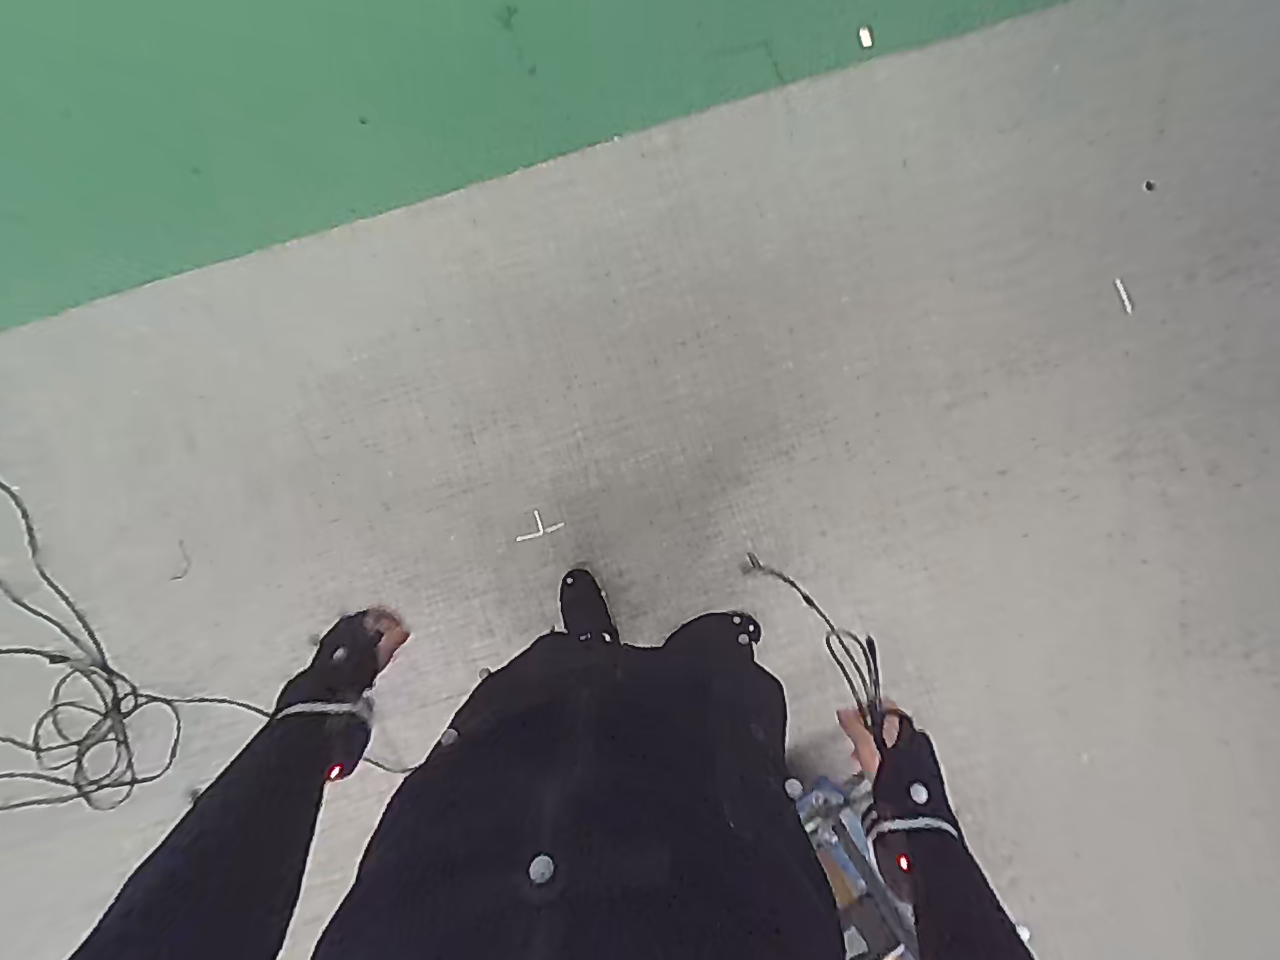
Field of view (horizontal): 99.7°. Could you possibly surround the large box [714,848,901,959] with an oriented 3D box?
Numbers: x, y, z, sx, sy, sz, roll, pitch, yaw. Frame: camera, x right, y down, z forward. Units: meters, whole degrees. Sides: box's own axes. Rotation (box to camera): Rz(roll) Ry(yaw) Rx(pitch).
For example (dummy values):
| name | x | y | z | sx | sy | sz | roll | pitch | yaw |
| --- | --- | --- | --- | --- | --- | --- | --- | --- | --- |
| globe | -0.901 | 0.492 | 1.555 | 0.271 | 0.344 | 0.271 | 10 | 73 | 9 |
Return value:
| name | x | y | z | sx | sy | sz | roll | pitch | yaw |
| --- | --- | --- | --- | --- | --- | --- | --- | --- | --- |
| large box | 0.401 | 1.056 | 1.051 | 0.320 | 0.320 | 0.408 | -35 | 87 | -3 |
